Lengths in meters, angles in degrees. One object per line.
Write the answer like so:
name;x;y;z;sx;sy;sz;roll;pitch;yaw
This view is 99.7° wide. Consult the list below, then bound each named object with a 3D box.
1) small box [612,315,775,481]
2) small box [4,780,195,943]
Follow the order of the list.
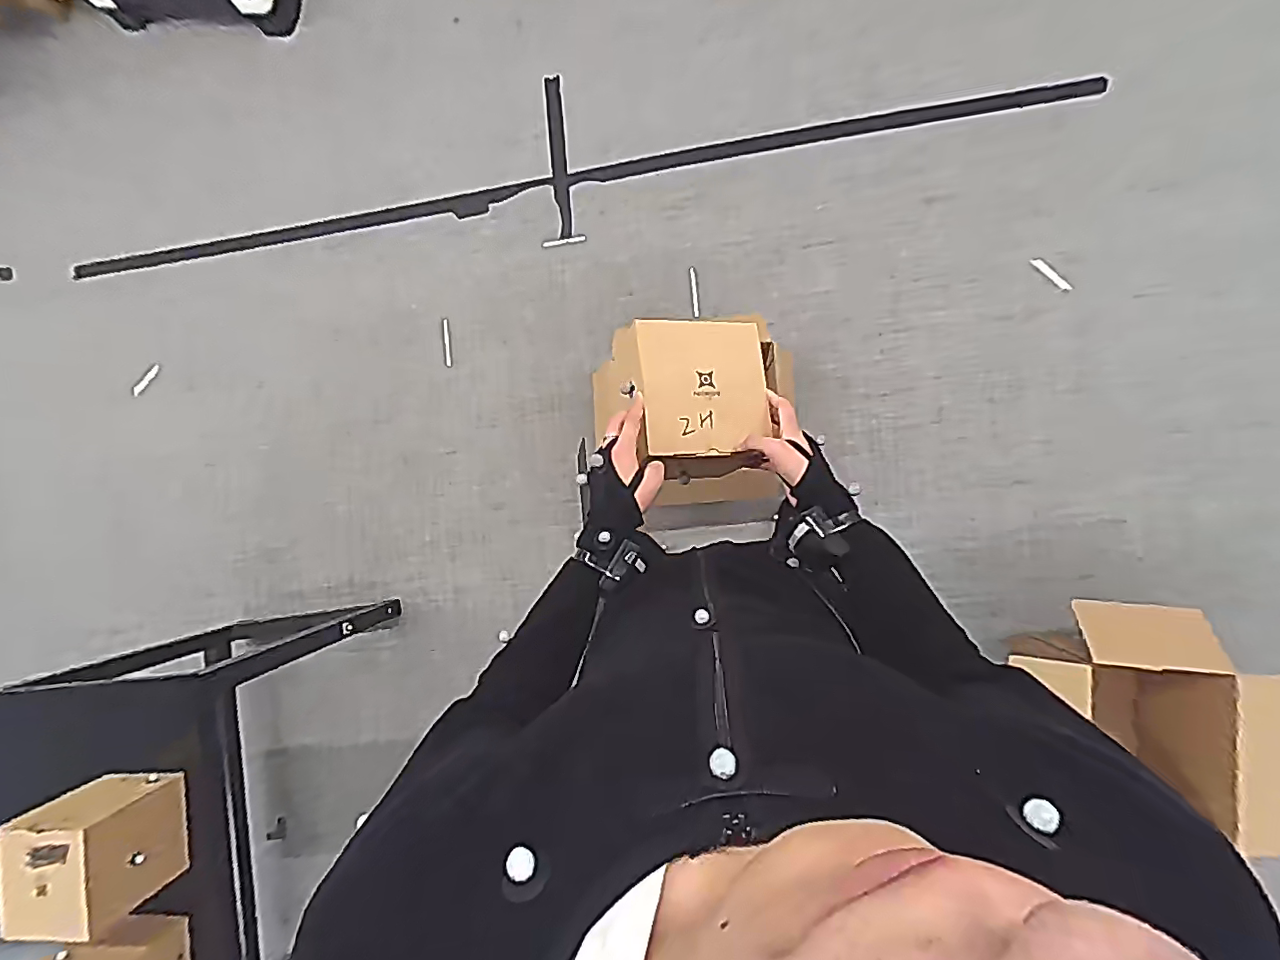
small box;0.061;-0.103;0.734;0.168;0.176;0.179;-3;80;-14
small box;-0.916;0.643;0.932;0.168;0.176;0.179;-5;90;7
